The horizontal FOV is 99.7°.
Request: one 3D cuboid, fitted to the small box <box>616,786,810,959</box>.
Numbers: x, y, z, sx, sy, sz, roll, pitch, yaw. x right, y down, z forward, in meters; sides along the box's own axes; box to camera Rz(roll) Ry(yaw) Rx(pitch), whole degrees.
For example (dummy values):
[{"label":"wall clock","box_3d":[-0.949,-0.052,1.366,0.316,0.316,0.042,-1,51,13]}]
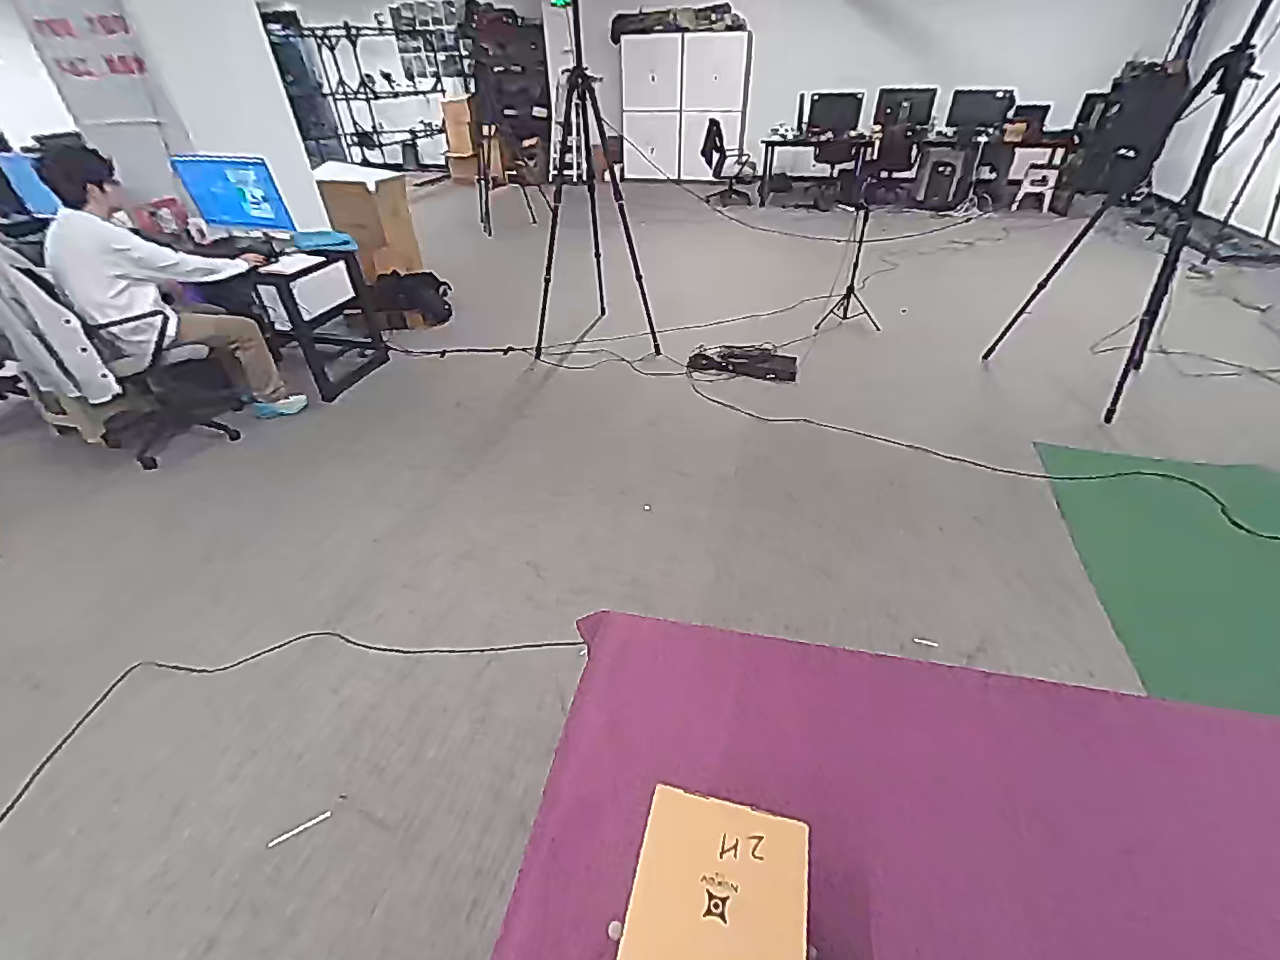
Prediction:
[{"label":"small box","box_3d":[0.077,0.464,0.562,0.168,0.176,0.179,9,38,13]}]
